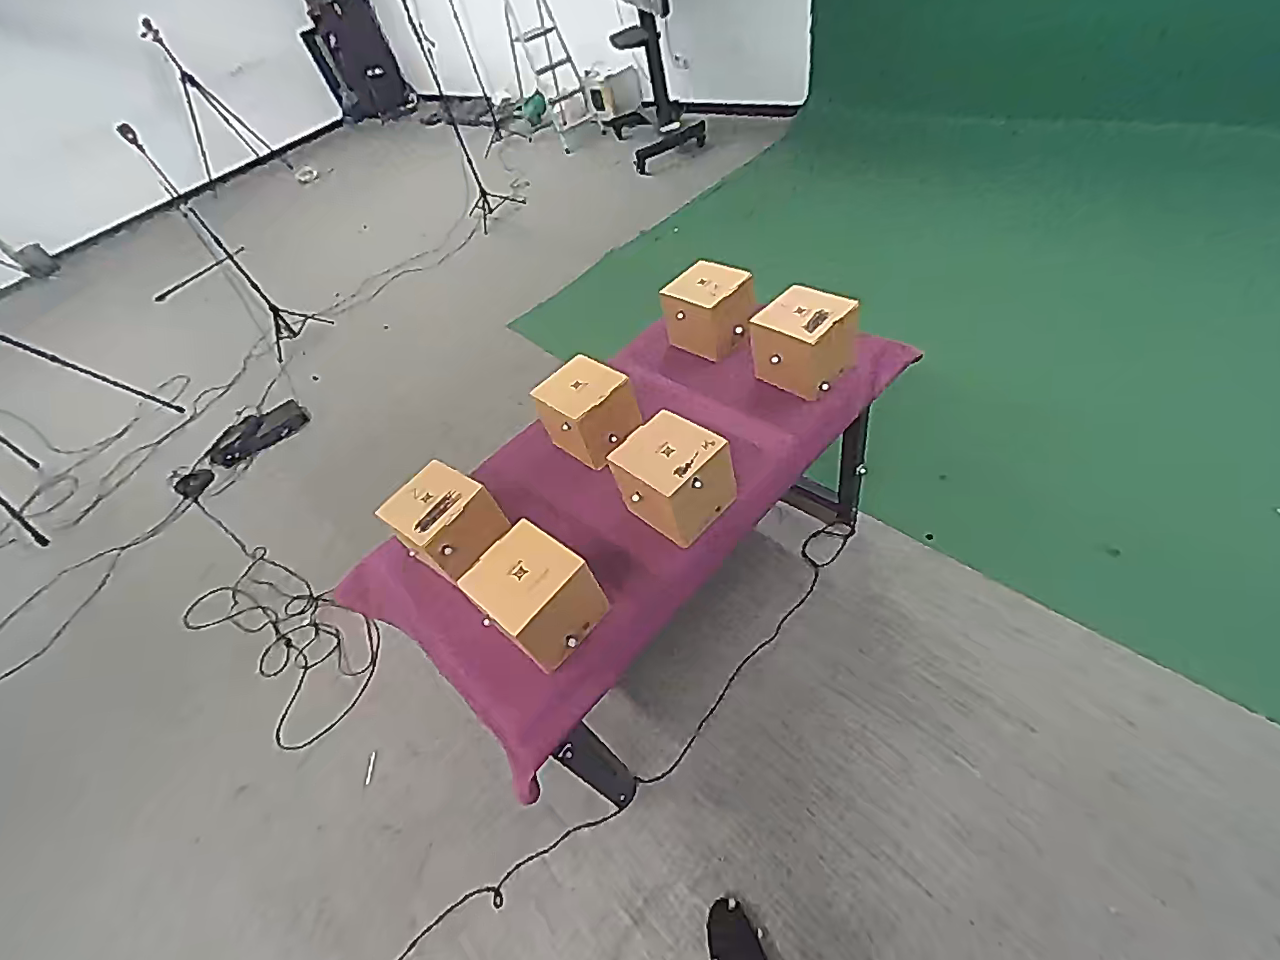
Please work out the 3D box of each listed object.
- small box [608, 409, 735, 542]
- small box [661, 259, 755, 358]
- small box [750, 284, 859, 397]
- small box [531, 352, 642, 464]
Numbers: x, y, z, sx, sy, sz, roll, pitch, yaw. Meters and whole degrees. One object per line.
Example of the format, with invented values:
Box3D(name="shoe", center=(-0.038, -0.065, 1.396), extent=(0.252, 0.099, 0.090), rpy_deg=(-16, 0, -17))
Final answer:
Box3D(name="small box", center=(0.068, -0.007, 1.076), extent=(0.168, 0.176, 0.179), rpy_deg=(-42, 50, -19))
Box3D(name="small box", center=(0.183, -0.448, 1.419), extent=(0.168, 0.176, 0.179), rpy_deg=(-43, 53, -19))
Box3D(name="small box", center=(0.380, -0.317, 1.248), extent=(0.168, 0.176, 0.179), rpy_deg=(-40, 49, -17))
Box3D(name="small box", center=(-0.121, -0.165, 1.270), extent=(0.179, 0.176, 0.168), rpy_deg=(32, 65, 34))
